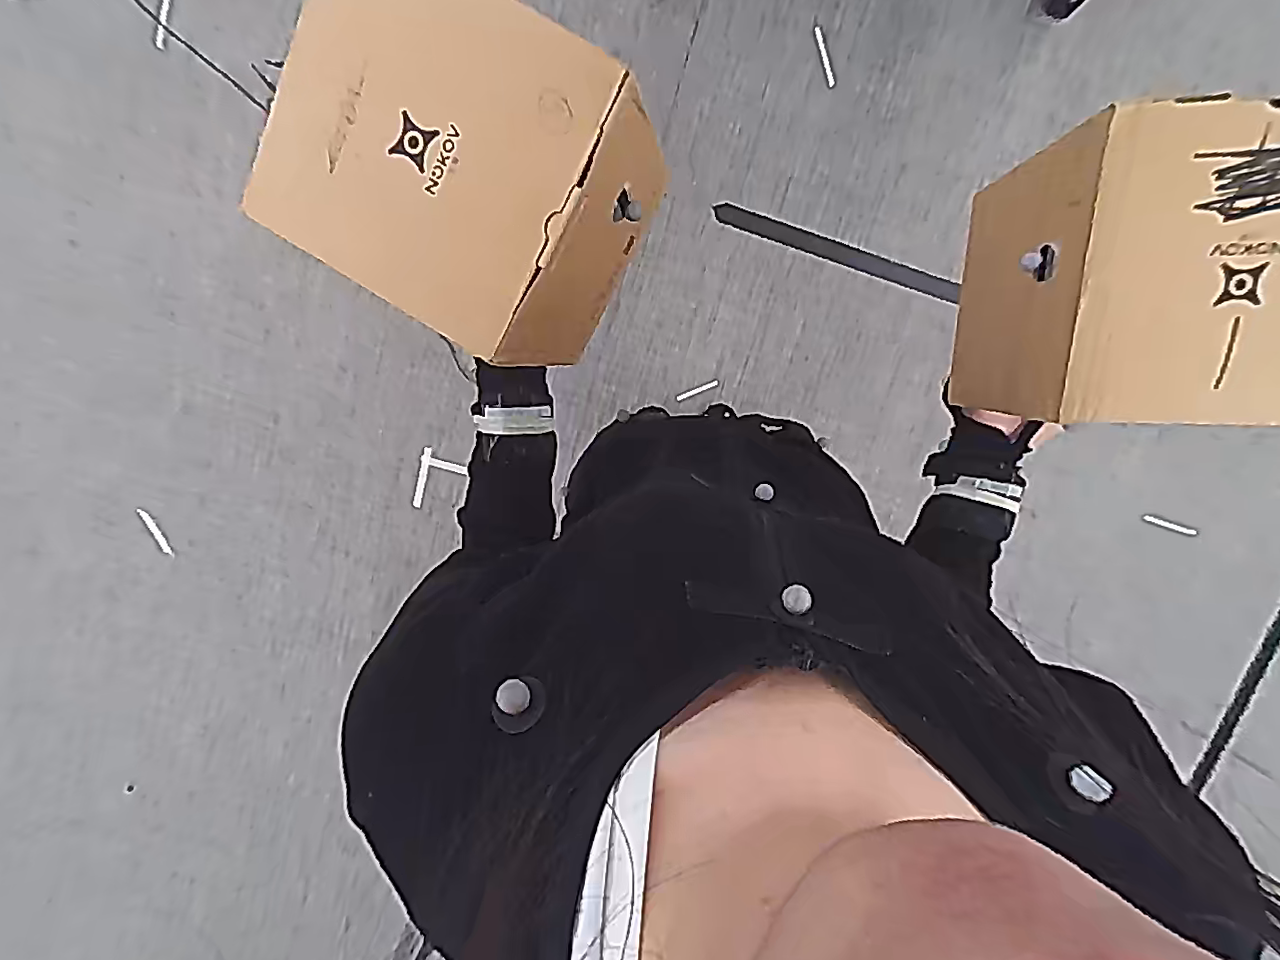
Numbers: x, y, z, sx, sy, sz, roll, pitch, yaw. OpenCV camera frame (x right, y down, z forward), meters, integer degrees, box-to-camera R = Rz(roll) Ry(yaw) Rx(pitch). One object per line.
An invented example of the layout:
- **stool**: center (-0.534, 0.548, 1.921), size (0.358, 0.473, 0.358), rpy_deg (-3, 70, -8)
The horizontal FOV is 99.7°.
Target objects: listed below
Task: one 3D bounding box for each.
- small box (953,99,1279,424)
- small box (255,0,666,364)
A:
- **small box**: center (0.348, -0.135, 0.383), size (0.168, 0.176, 0.179), rpy_deg (2, 102, 8)
- **small box**: center (-0.098, -0.194, 0.368), size (0.179, 0.176, 0.168), rpy_deg (31, 104, 3)
